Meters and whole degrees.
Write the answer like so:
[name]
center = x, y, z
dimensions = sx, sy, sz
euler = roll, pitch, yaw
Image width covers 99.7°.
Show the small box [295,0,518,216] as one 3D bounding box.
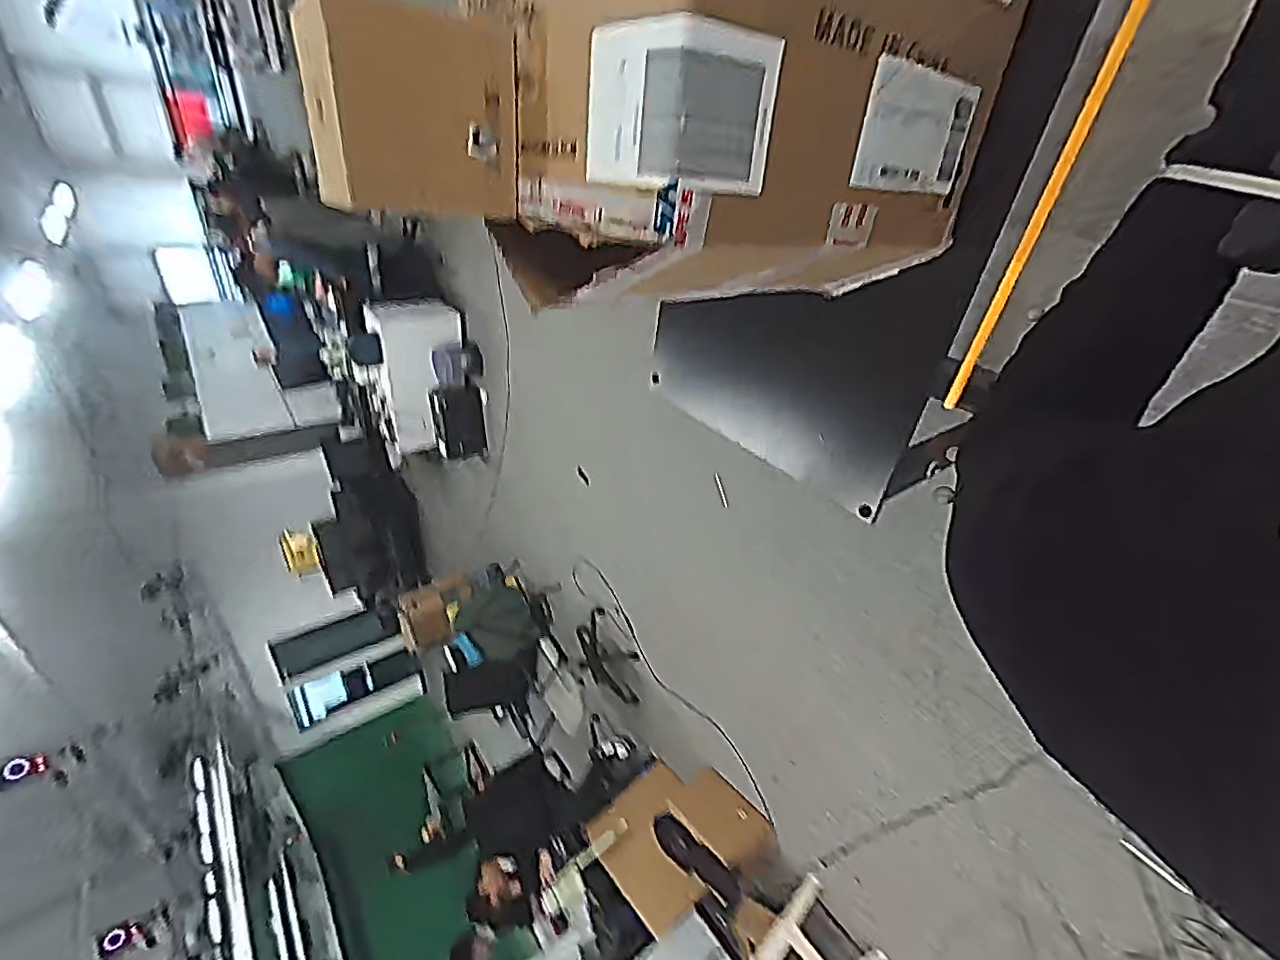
[small box]
center = -0.239, -0.375, 0.566
dimensions = 0.179, 0.176, 0.168
euler = 35, 131, 45
